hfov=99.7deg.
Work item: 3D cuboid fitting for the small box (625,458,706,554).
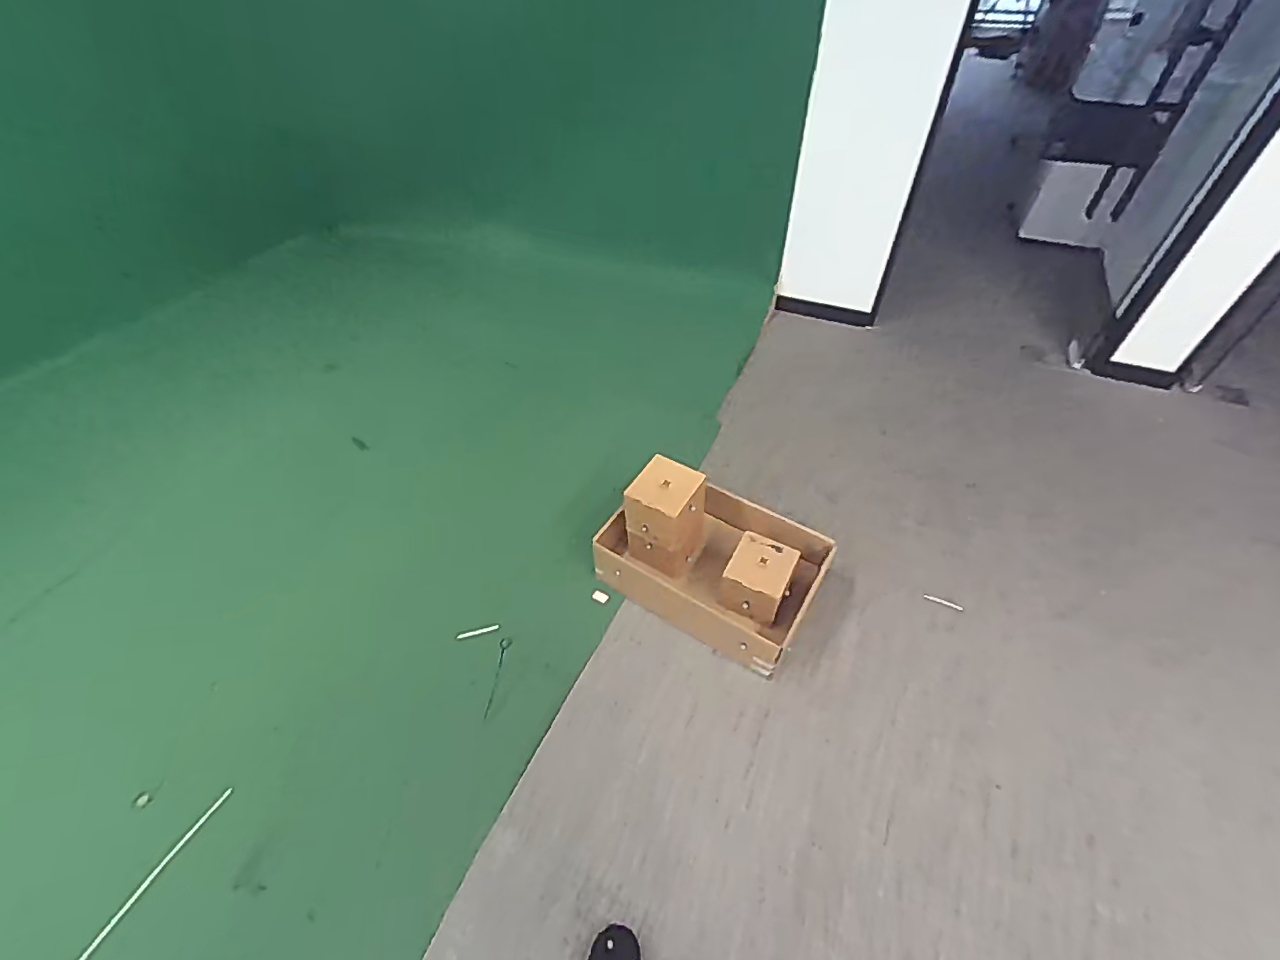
[{"bbox_3d":[0.072,0.076,1.546,0.168,0.176,0.179,26,55,22],"label":"small box"}]
